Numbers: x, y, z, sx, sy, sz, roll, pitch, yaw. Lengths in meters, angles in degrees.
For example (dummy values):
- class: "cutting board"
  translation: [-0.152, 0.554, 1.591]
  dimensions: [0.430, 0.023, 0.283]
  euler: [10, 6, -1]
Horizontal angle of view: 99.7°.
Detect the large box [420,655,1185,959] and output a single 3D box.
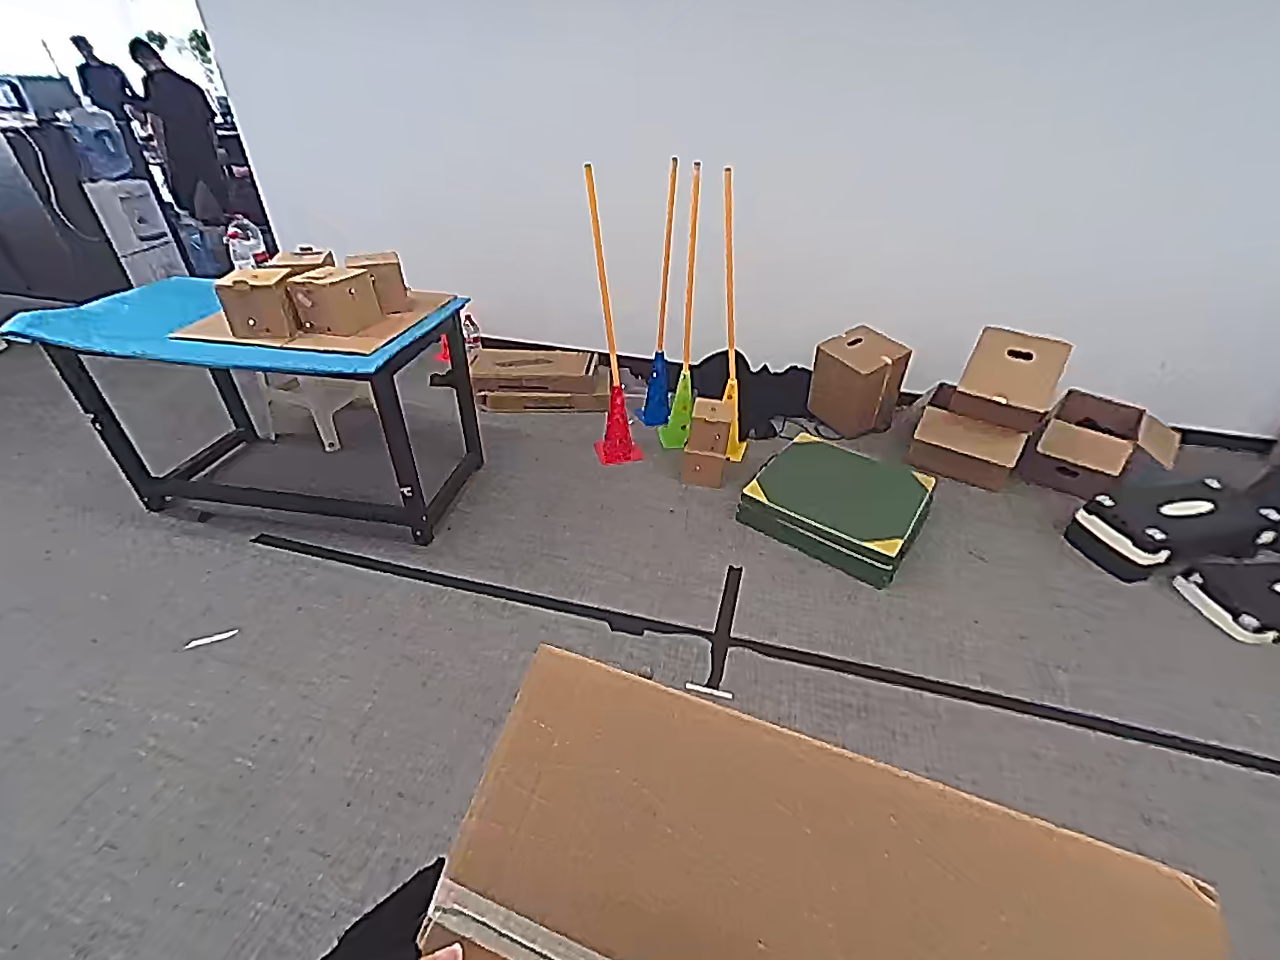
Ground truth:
- class: "large box"
  translation: [0.082, 0.373, 0.418]
  dimensions: [0.408, 0.320, 0.320]
  euler: [14, 65, 15]
